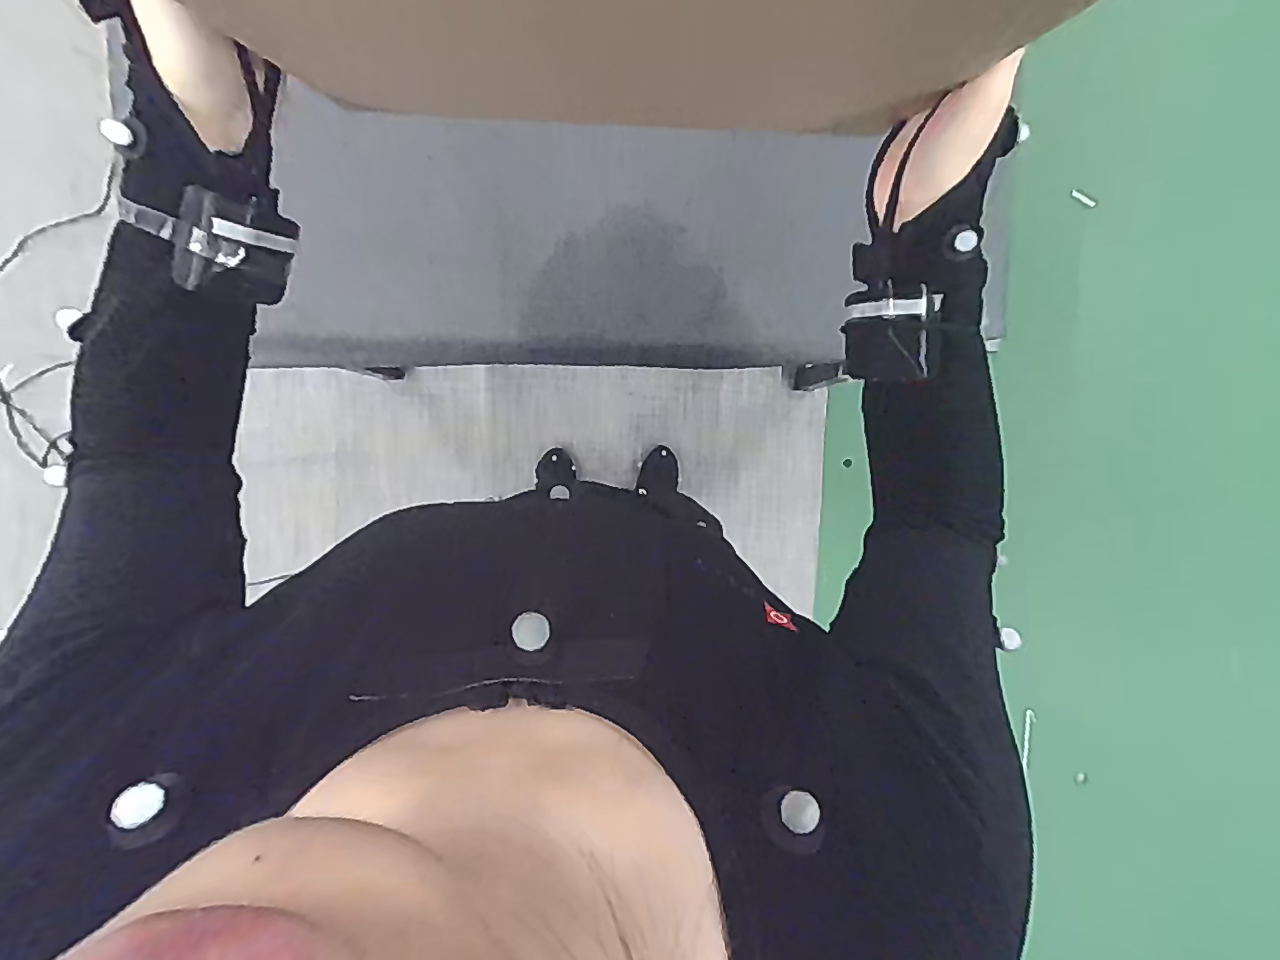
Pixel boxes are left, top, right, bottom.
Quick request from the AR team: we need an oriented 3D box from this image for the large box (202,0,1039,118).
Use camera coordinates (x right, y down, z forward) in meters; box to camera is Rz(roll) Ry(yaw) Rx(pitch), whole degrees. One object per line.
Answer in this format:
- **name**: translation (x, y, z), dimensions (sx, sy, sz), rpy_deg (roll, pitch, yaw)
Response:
- **large box**: translation (-0.011, -0.370, 0.220), dimensions (0.408, 0.320, 0.320), rpy_deg (0, 111, -3)
